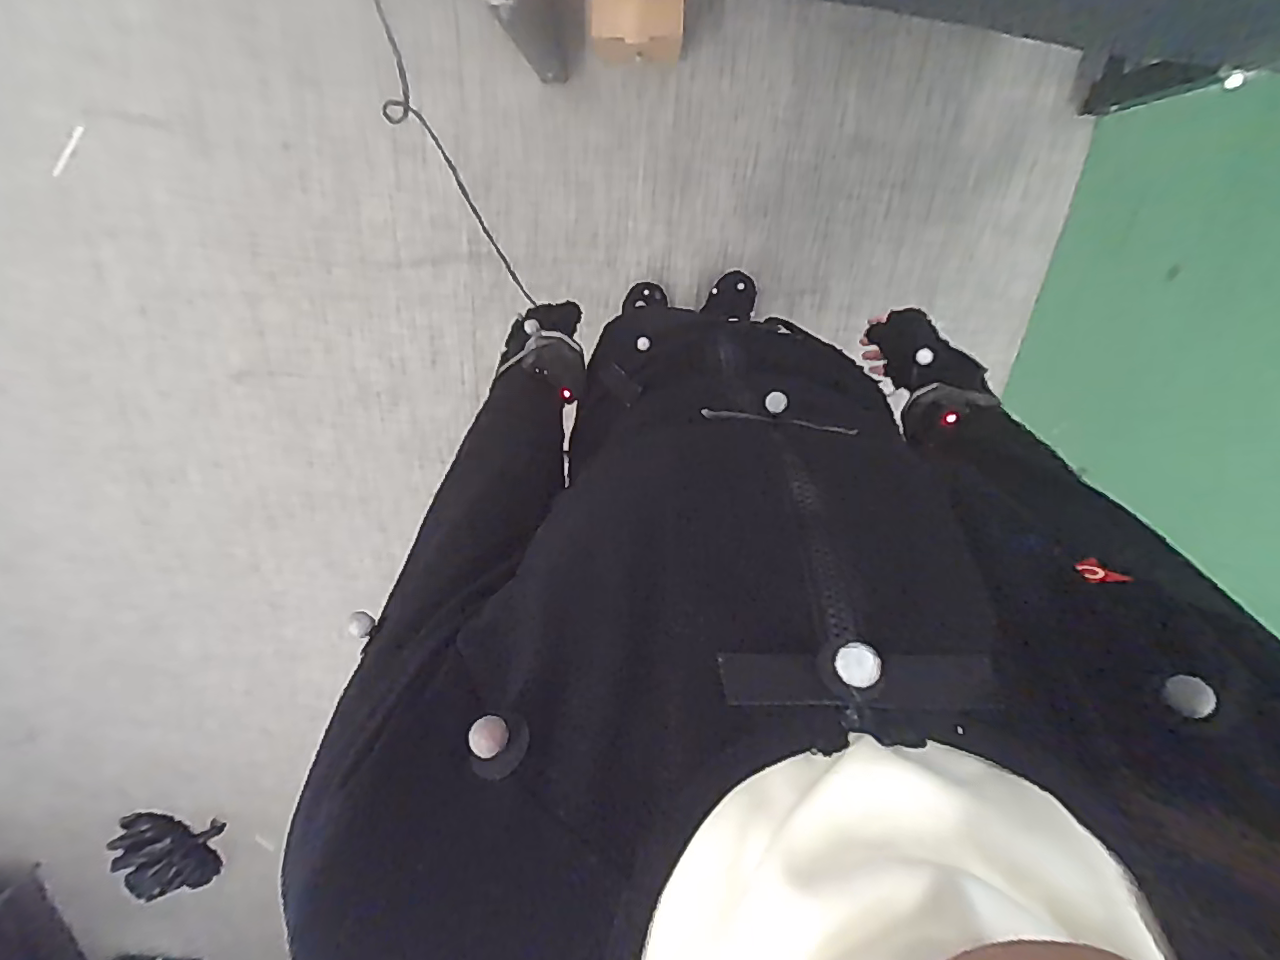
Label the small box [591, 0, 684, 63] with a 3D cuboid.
[{"bbox_3d":[-0.001,-0.901,1.006,0.168,0.176,0.179,1,115,1],"label":"small box"}]
